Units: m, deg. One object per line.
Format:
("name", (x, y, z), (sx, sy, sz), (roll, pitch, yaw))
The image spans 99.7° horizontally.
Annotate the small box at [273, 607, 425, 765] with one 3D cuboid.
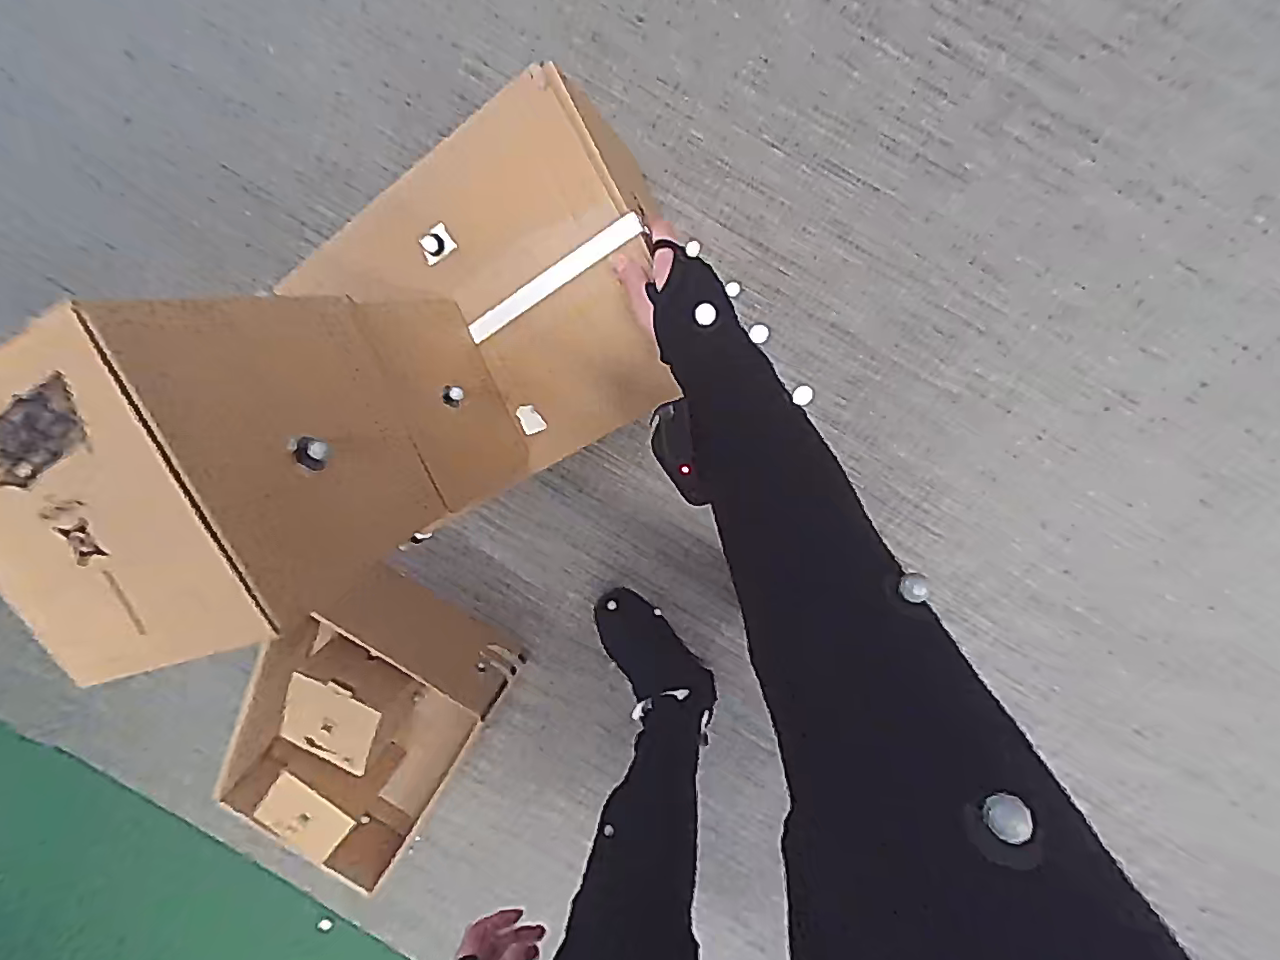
("small box", (-0.524, 0.368, 0.992), (0.168, 0.176, 0.179), (27, 113, 1))
